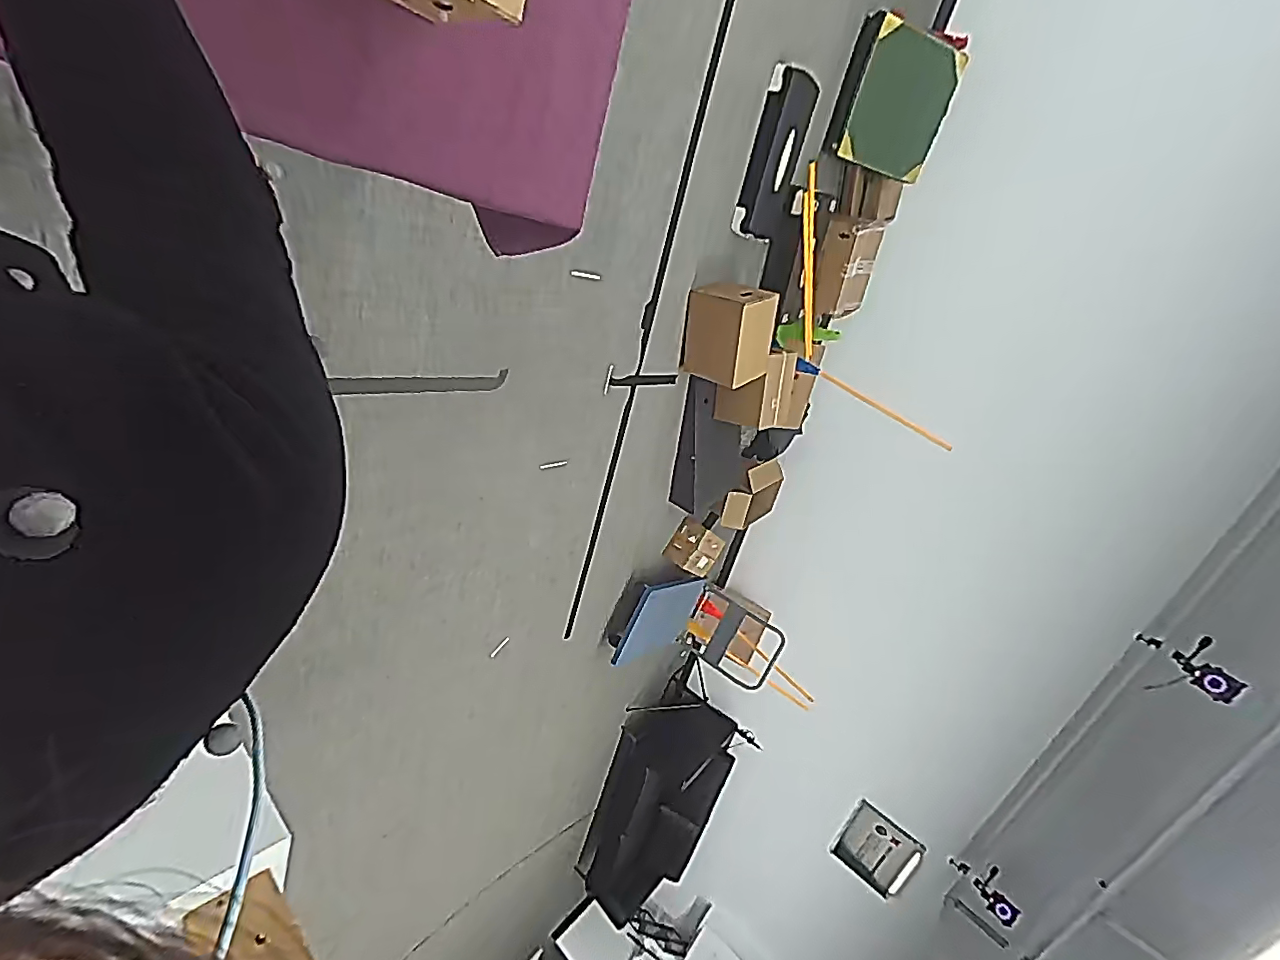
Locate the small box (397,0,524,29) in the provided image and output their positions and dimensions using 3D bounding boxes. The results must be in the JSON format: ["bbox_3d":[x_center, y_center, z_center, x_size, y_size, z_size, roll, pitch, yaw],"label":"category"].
[{"bbox_3d":[-0.217,-0.583,0.527,0.168,0.176,0.179,-15,128,-50],"label":"small box"}]

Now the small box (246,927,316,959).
[{"bbox_3d":[-0.790,1.120,1.147,0.179,0.176,0.168,-7,122,-53],"label":"small box"}]

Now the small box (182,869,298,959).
[{"bbox_3d":[-0.914,1.049,1.231,0.168,0.176,0.179,-7,123,-53],"label":"small box"}]
